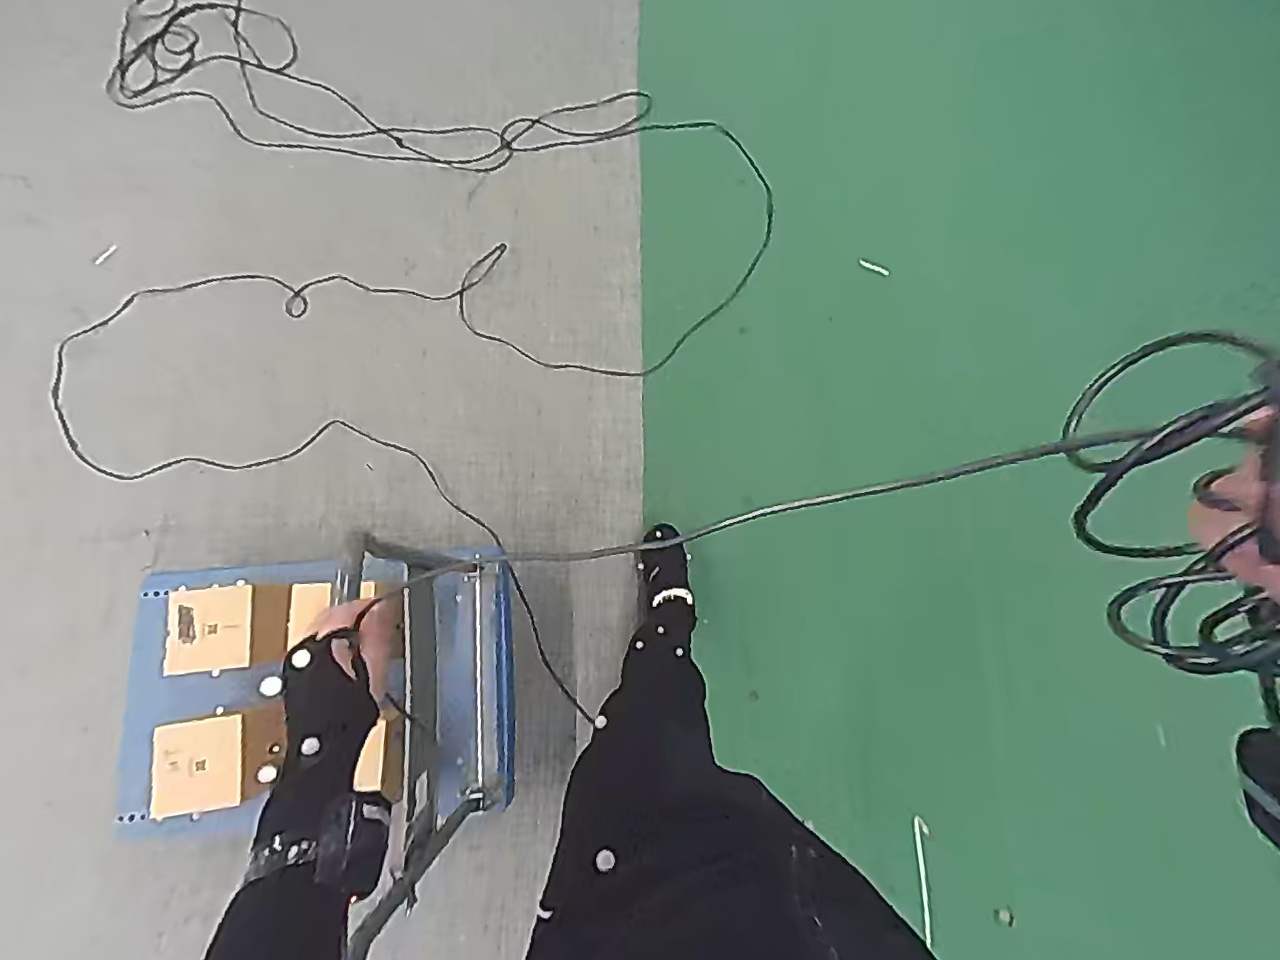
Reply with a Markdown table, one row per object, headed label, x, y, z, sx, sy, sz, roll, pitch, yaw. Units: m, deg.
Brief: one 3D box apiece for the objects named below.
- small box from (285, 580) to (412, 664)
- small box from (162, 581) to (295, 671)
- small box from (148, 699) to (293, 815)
| label | x | y | z | sx | sy | sz | roll | pitch | yaw |
| --- | --- | --- | --- | --- | --- | --- | --- | --- | --- |
| small box | -0.618 | 0.303 | 1.164 | 0.179 | 0.176 | 0.168 | -2 | 78 | 1 |
| small box | -0.867 | 0.311 | 1.167 | 0.179 | 0.176 | 0.168 | -5 | 79 | 0 |
| small box | -0.850 | 0.559 | 1.114 | 0.179 | 0.176 | 0.168 | -8 | 77 | 0 |
